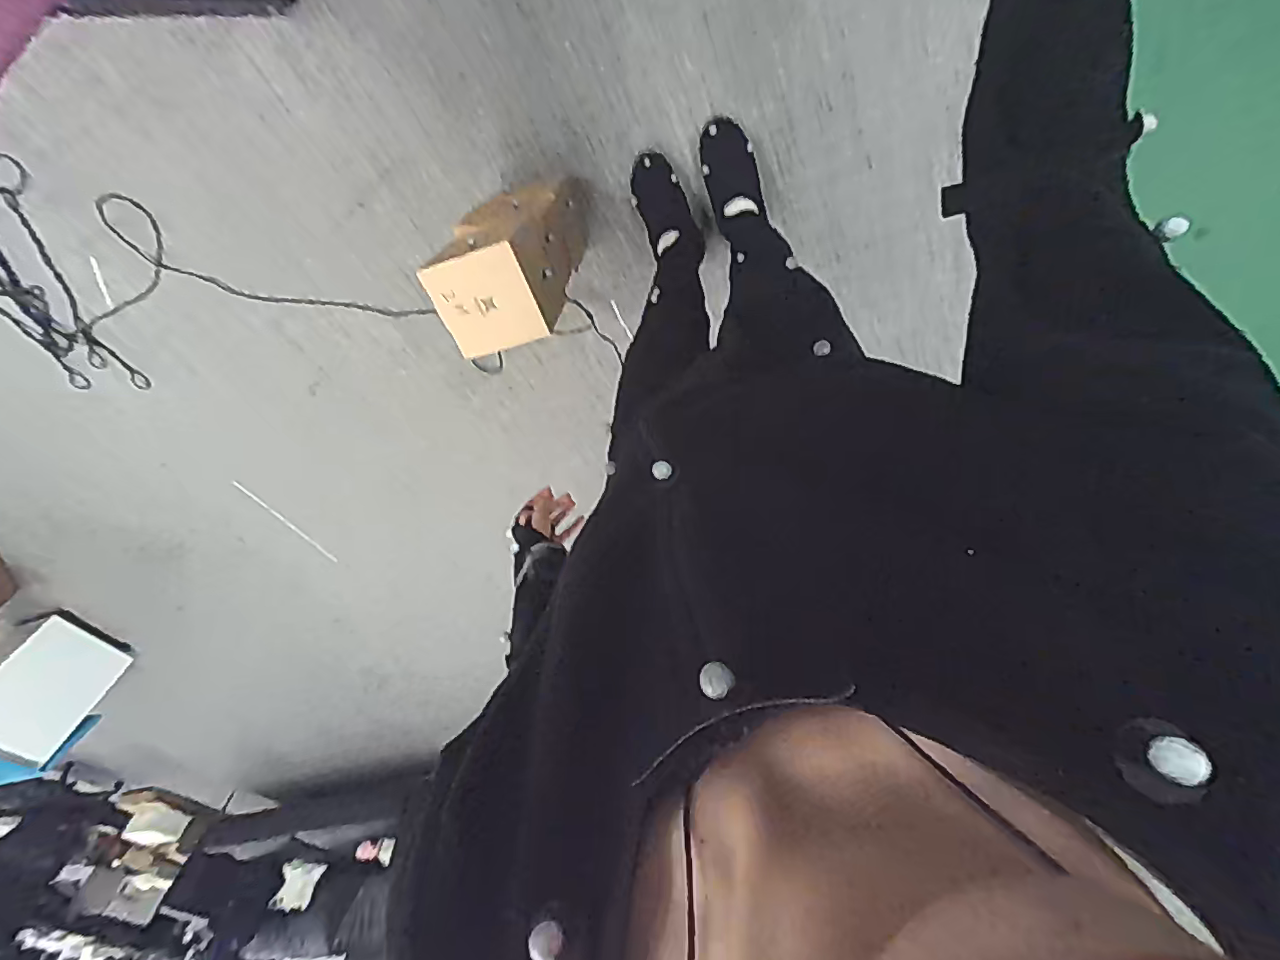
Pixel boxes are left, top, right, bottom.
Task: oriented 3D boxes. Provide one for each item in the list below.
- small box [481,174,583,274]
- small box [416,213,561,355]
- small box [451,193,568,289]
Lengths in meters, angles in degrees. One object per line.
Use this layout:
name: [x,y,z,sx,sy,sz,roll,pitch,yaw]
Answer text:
small box: [-0.233,-0.565,1.205,0.168,0.176,0.179,-6,131,10]
small box: [-0.253,-0.350,0.960,0.179,0.176,0.168,-11,128,15]
small box: [-0.250,-0.457,1.087,0.168,0.176,0.179,-1,130,7]
